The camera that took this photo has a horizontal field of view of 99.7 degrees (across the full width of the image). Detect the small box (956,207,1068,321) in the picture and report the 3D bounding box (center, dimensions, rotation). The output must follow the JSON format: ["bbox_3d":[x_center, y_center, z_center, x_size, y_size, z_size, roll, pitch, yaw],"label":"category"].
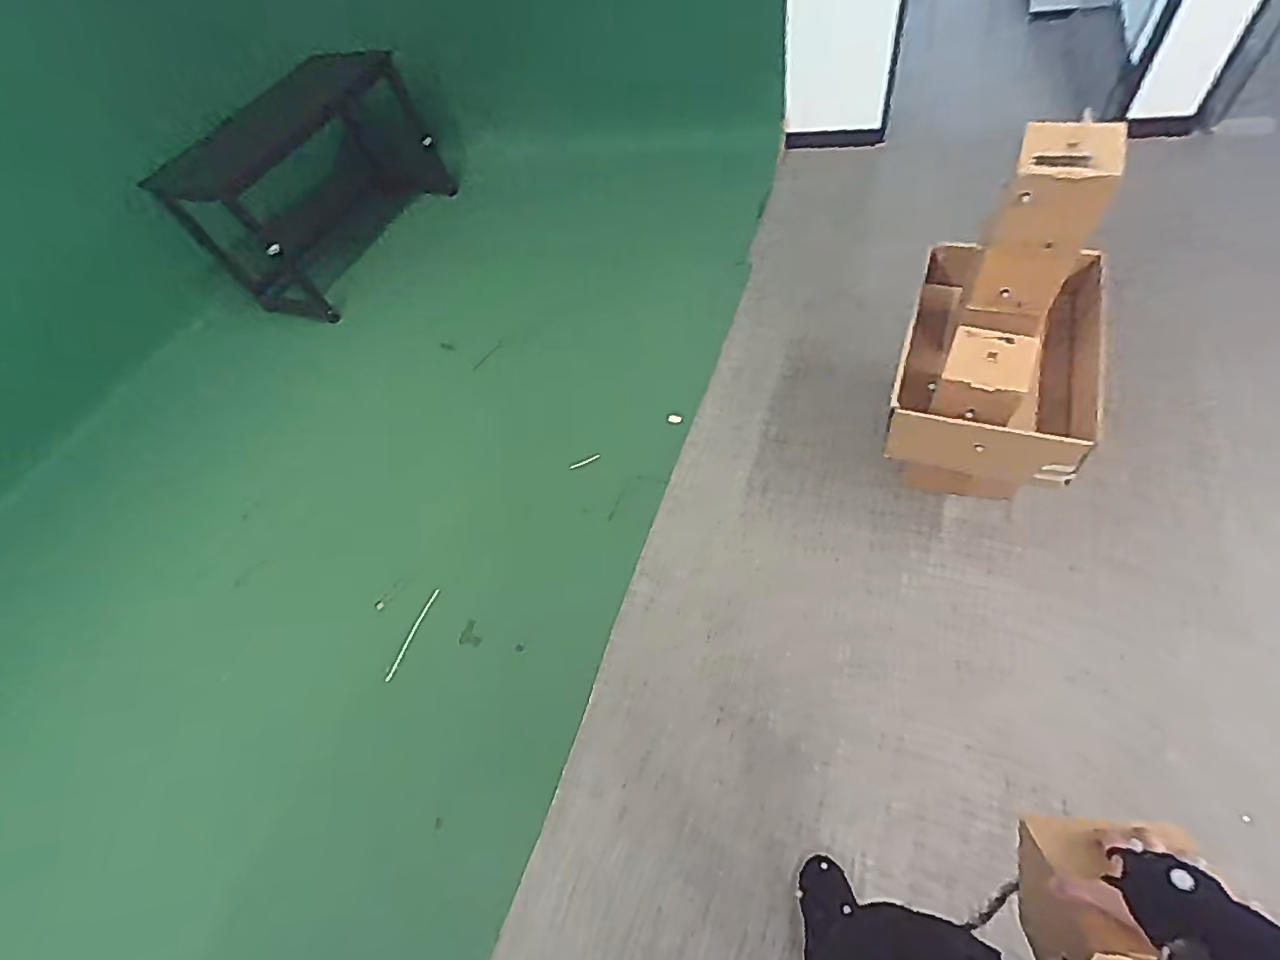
[{"bbox_3d":[0.854,-0.500,1.253,0.168,0.176,0.179,14,64,20],"label":"small box"}]

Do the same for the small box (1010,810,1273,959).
[{"bbox_3d":[0.541,0.516,0.606,0.168,0.179,0.176,-3,101,16],"label":"small box"}]

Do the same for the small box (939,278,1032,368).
[{"bbox_3d":[0.888,-0.419,1.389,0.168,0.176,0.179,14,64,21],"label":"small box"}]
